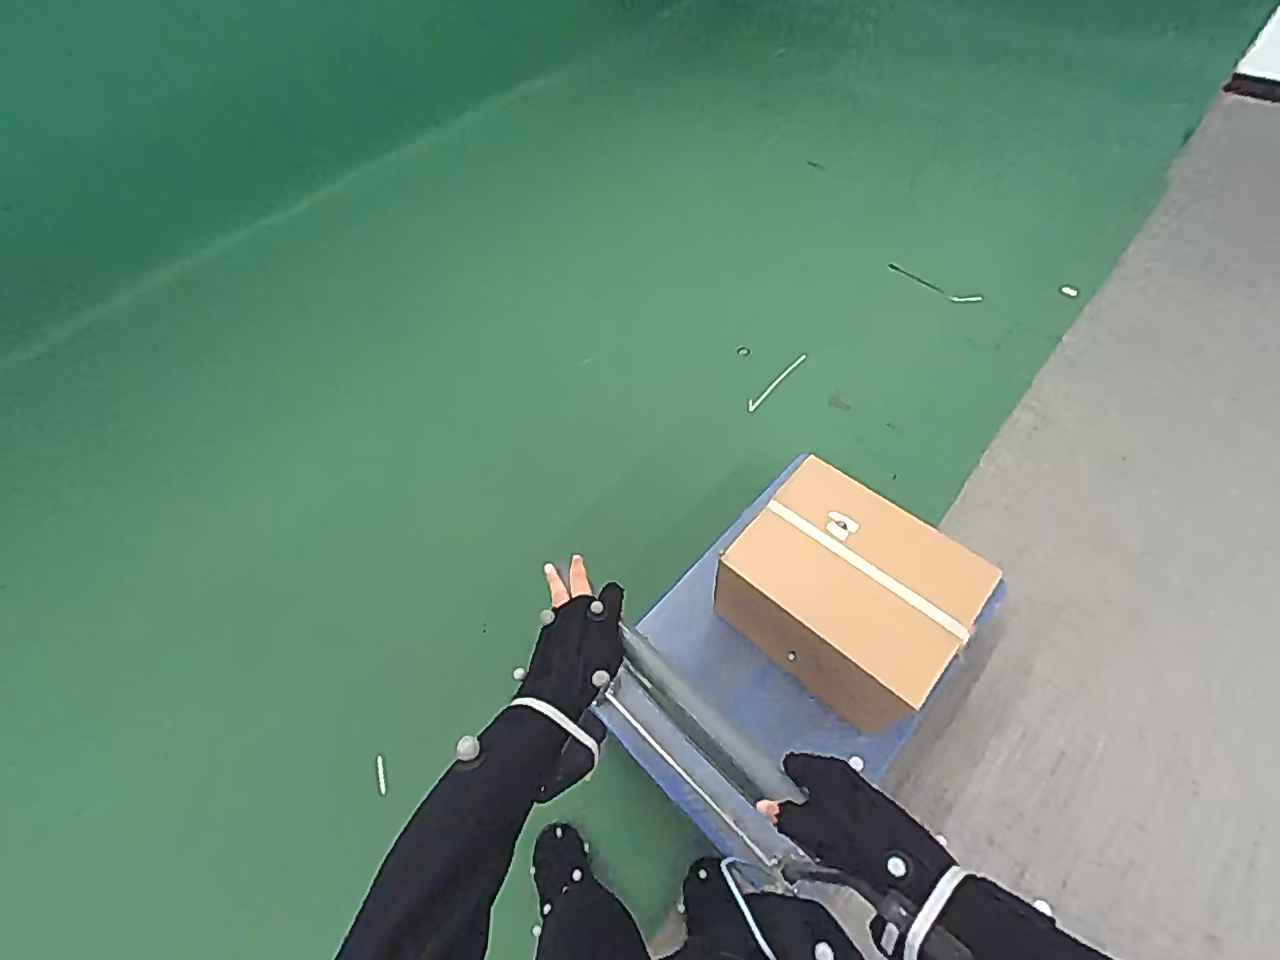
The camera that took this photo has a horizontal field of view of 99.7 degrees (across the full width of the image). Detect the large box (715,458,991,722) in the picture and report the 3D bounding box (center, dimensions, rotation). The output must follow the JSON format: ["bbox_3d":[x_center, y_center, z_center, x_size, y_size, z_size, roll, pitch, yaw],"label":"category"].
[{"bbox_3d":[0.409,0.233,1.135,0.408,0.320,0.320,36,68,24],"label":"large box"}]
